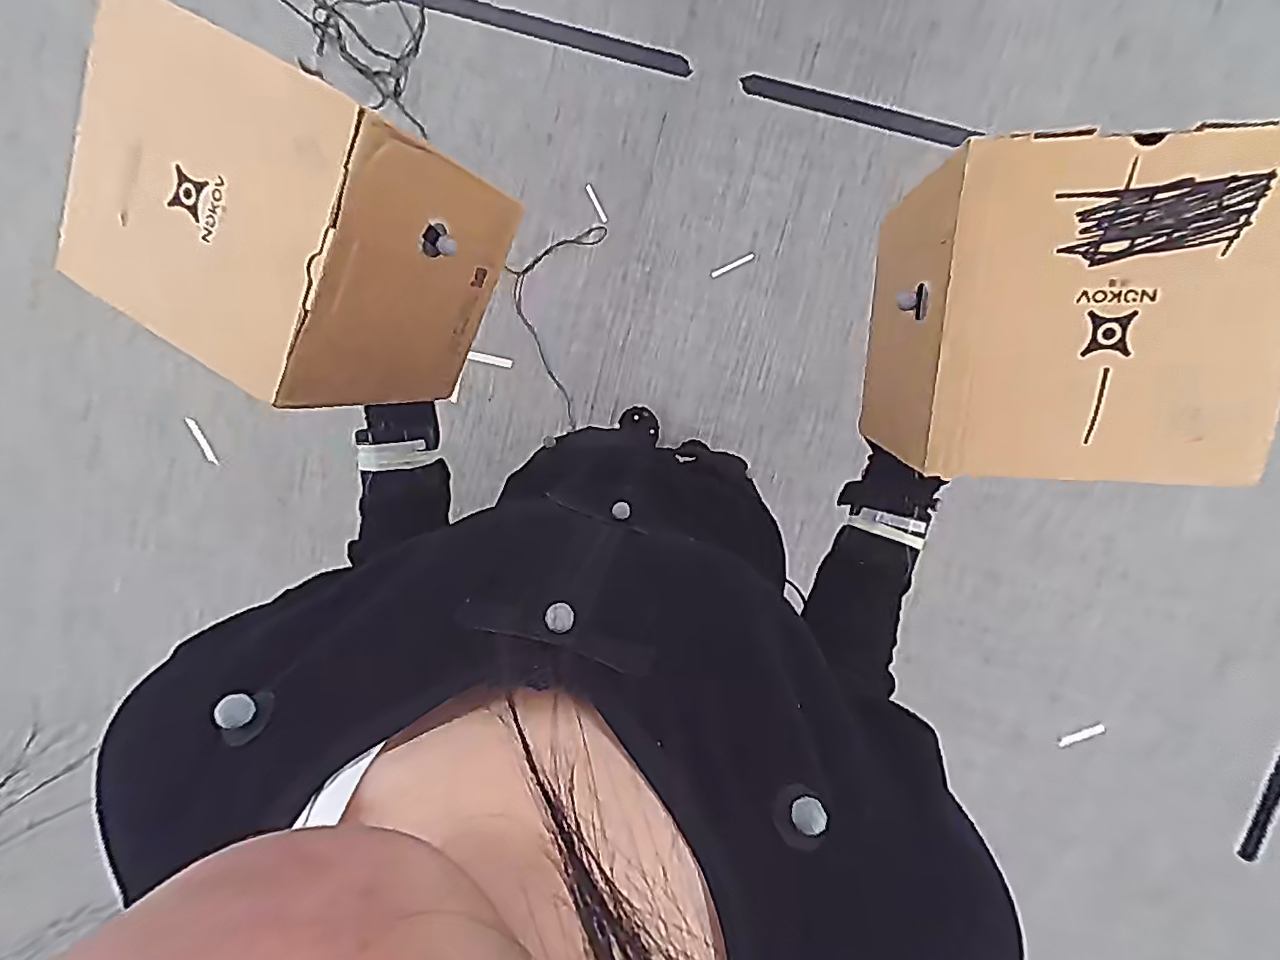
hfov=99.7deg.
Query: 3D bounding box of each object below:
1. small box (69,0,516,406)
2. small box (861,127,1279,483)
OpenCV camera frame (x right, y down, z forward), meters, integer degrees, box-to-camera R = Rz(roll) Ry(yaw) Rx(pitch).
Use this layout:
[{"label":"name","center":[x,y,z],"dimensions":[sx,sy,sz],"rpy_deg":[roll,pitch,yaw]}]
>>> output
[{"label":"small box","center":[-0.215,-0.166,0.370],"dimensions":[0.179,0.176,0.168],"rpy_deg":[30,105,8]},{"label":"small box","center":[0.257,-0.104,0.361],"dimensions":[0.168,0.176,0.179],"rpy_deg":[3,104,9]}]
